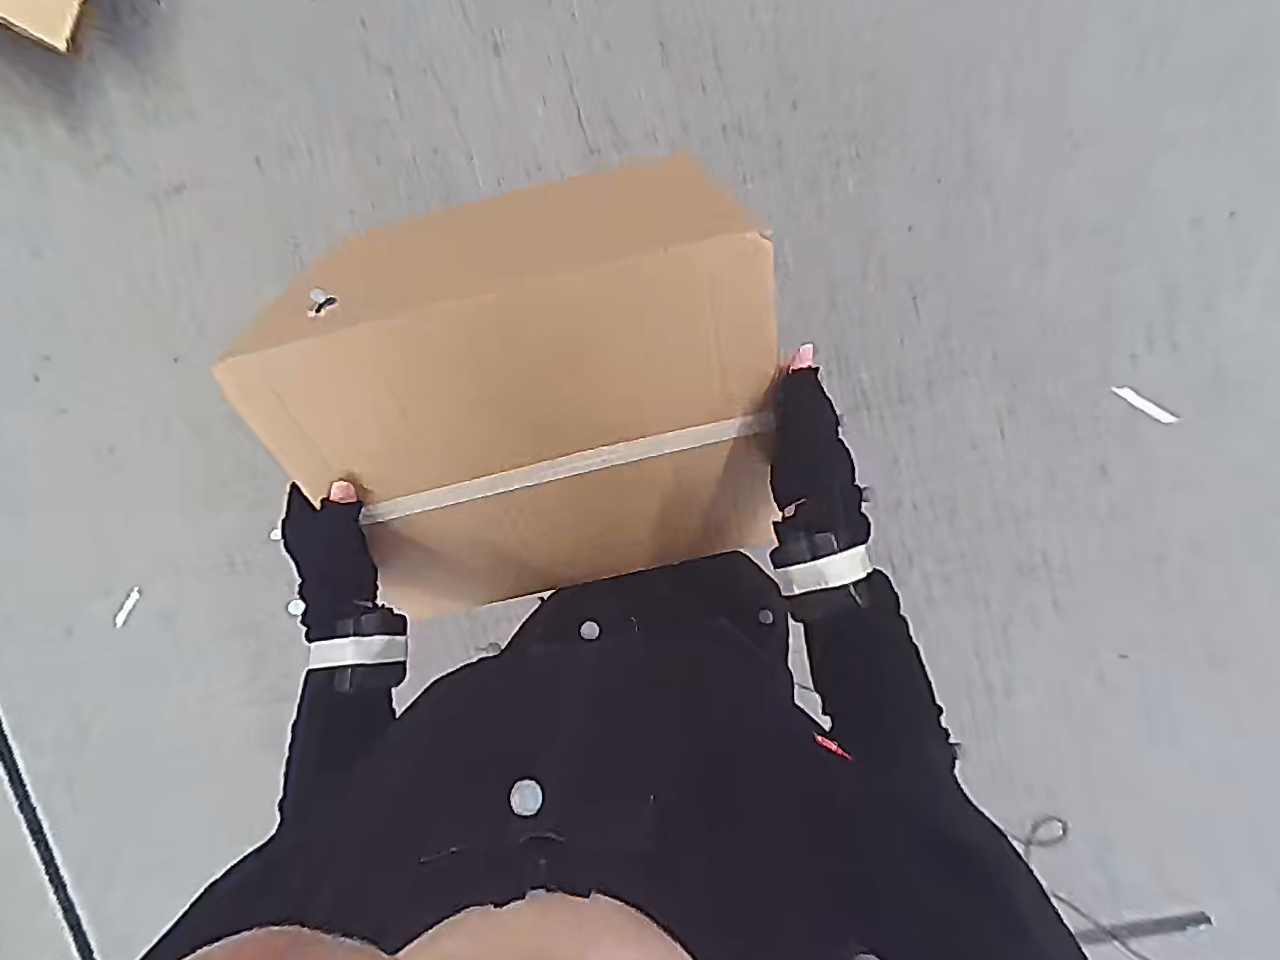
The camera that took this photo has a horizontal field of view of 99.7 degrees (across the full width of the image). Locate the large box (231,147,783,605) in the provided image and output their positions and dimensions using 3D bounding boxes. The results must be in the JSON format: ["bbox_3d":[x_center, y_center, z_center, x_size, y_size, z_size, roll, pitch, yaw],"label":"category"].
[{"bbox_3d":[-0.092,-0.116,0.584,0.408,0.320,0.320,-13,133,2],"label":"large box"}]
